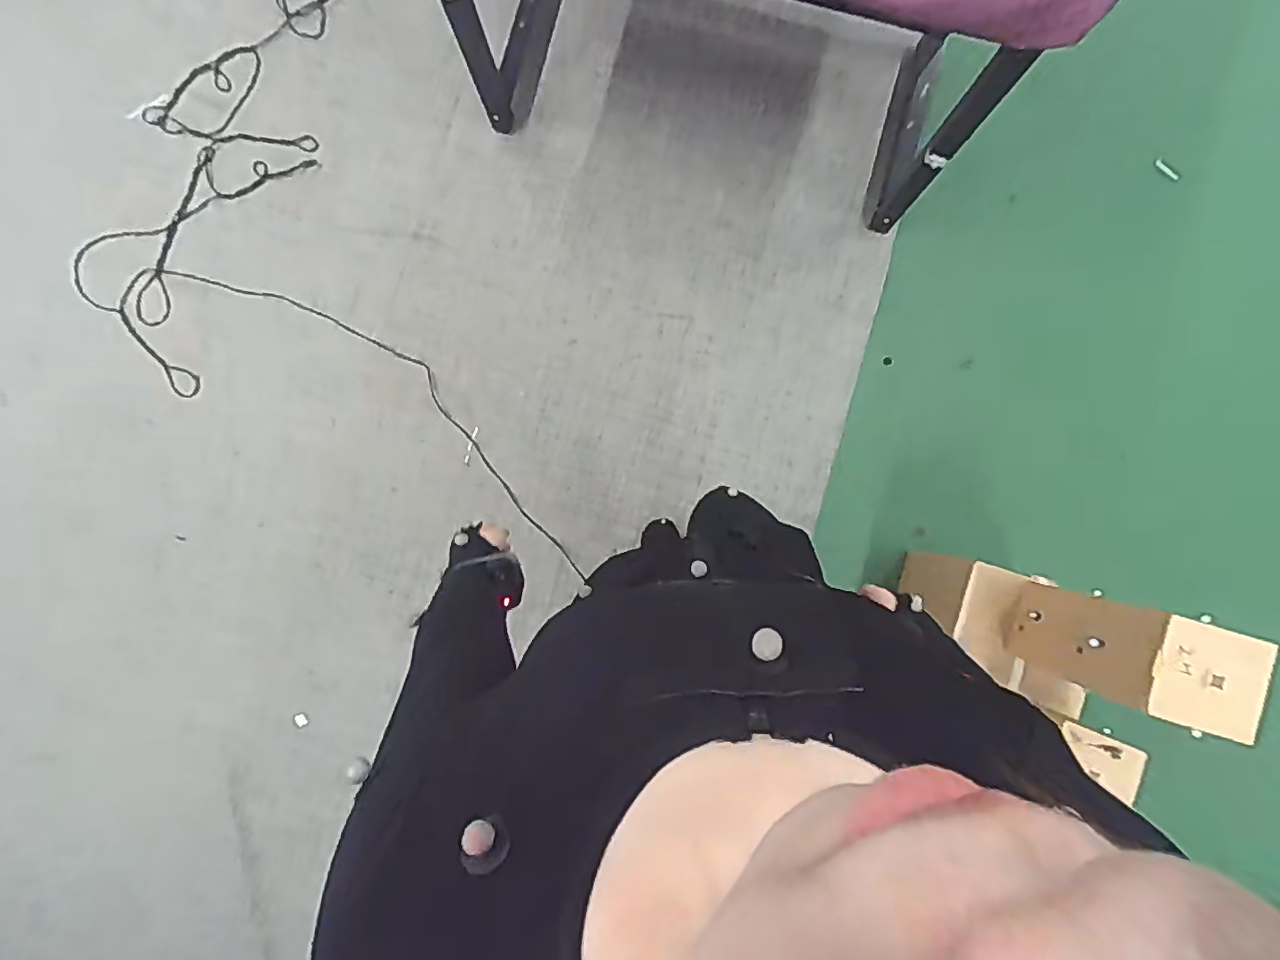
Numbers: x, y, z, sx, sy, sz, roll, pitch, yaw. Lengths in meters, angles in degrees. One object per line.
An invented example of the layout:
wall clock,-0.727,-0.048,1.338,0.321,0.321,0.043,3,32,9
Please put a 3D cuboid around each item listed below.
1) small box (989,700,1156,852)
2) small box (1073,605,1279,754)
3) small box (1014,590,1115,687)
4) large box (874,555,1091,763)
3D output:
small box,0.829,0.566,1.058,0.168,0.176,0.179,23,87,2
small box,0.893,0.321,0.908,0.179,0.176,0.168,17,88,2
small box,0.900,0.328,1.073,0.179,0.176,0.168,18,88,2
large box,0.824,0.427,1.312,0.320,0.320,0.408,18,88,3
